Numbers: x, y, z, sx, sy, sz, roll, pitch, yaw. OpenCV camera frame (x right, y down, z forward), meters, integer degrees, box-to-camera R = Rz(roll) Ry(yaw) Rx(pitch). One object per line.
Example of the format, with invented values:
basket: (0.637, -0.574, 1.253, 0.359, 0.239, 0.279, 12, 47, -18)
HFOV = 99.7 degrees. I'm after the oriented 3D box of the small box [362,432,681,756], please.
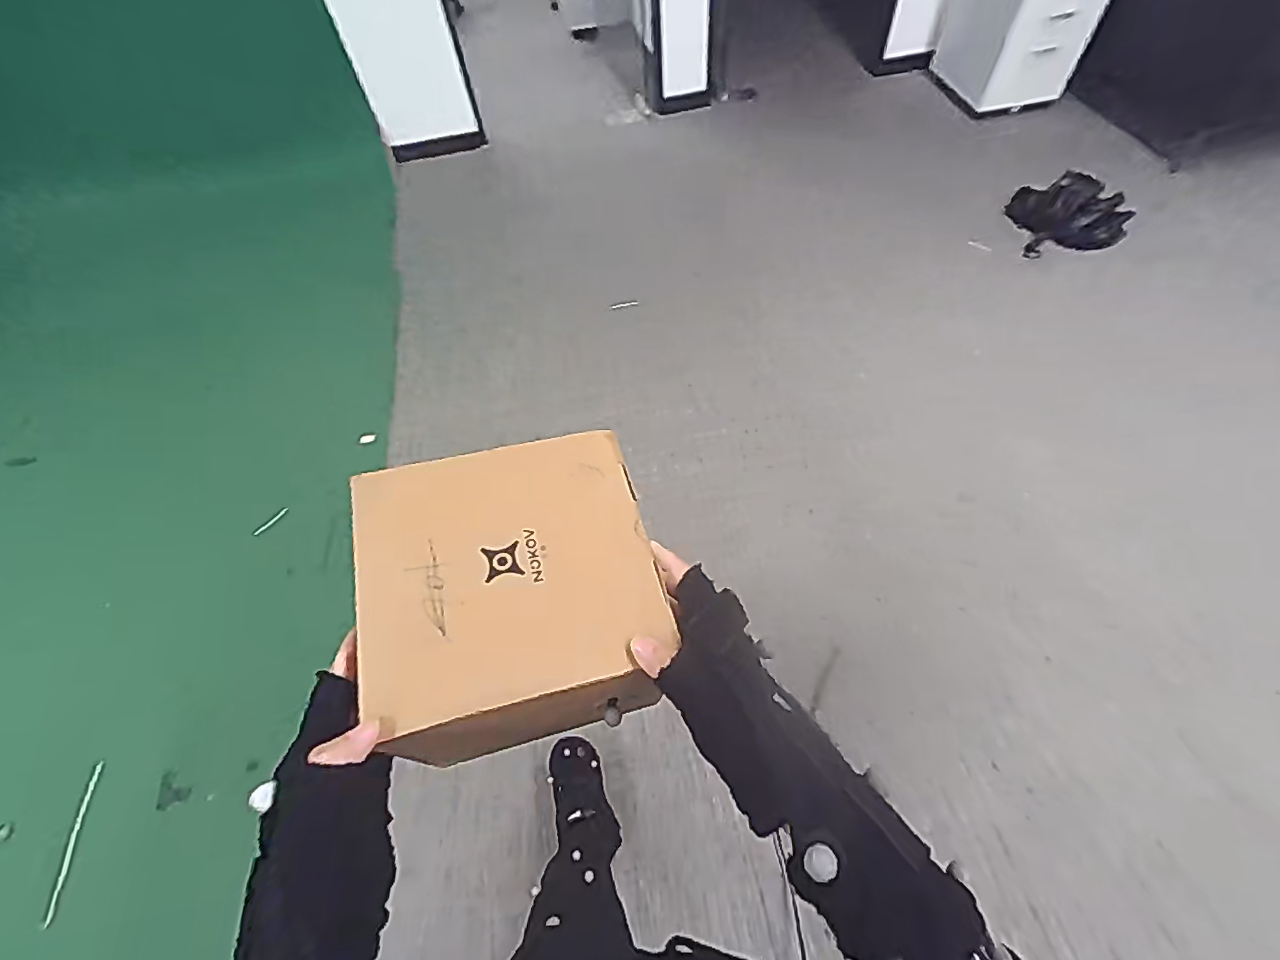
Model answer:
small box: (-0.084, 0.091, 0.405, 0.179, 0.176, 0.168, -13, 60, -10)
